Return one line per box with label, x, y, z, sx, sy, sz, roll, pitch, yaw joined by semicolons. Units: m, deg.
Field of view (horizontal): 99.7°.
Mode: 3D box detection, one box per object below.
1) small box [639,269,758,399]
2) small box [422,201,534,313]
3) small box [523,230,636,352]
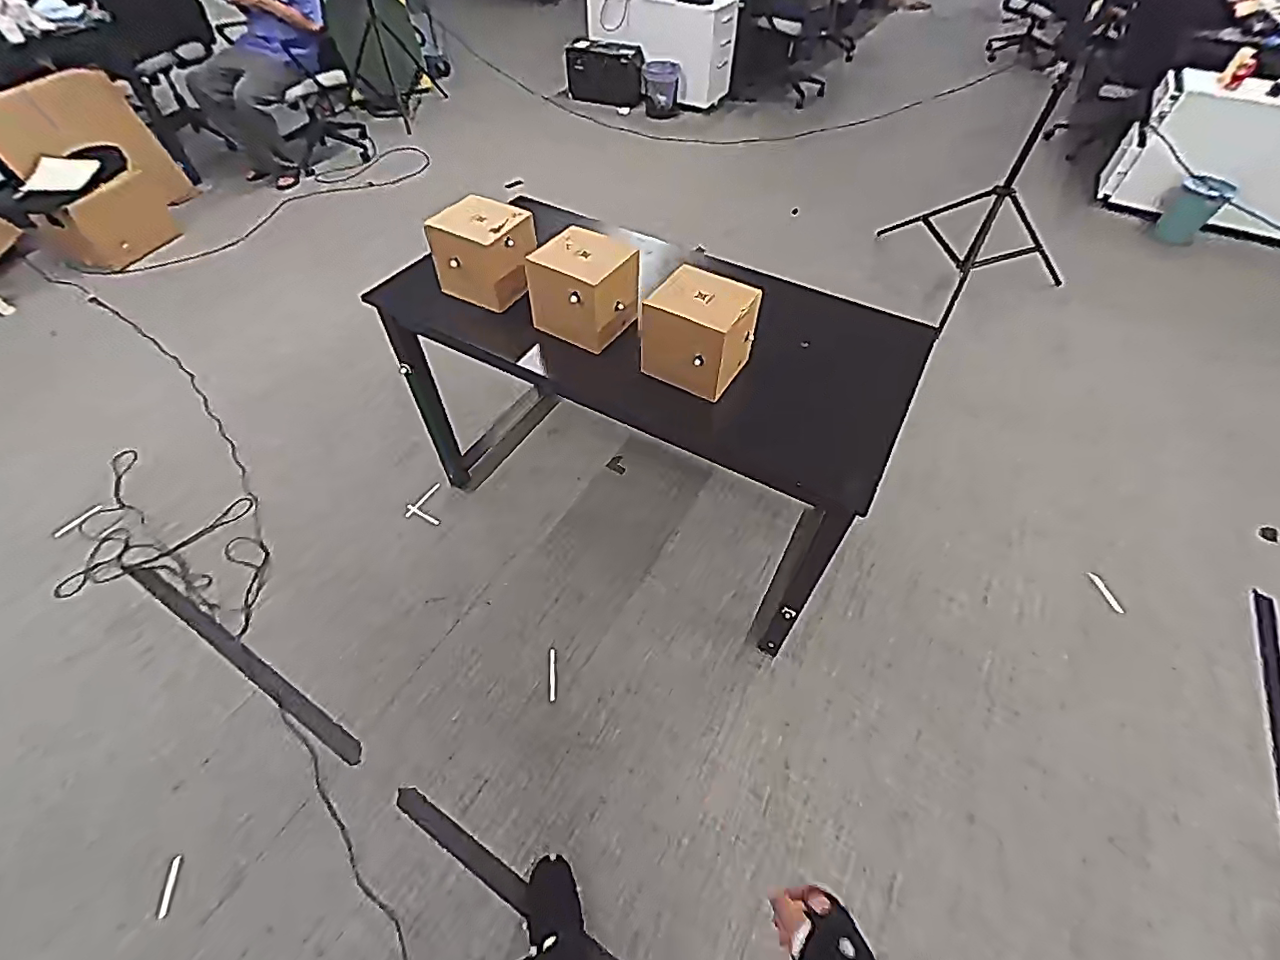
small box;0.111;-0.286;1.080;0.179;0.176;0.168;25;54;19
small box;-0.360;-0.510;1.245;0.179;0.176;0.168;23;55;16
small box;-0.123;-0.401;1.163;0.179;0.176;0.168;26;55;18
